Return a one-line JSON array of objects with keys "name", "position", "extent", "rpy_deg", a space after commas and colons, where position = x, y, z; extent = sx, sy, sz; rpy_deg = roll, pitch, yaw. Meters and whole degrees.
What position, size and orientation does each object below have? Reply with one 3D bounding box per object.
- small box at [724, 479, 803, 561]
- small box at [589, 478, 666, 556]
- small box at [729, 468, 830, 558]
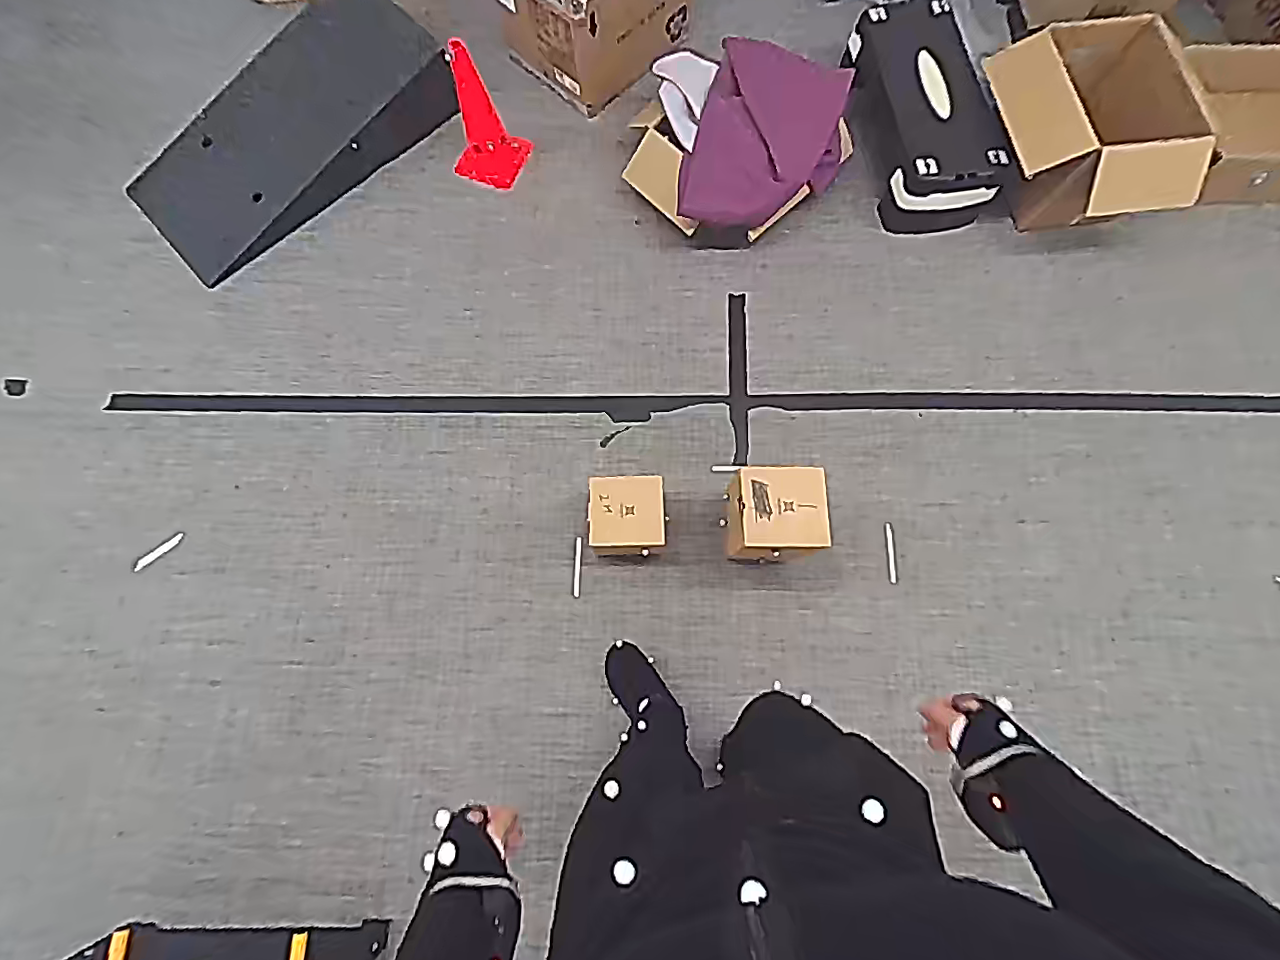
[{"name": "small box", "position": [0.299, 0.104, 1.322], "extent": [0.168, 0.176, 0.179], "rpy_deg": [2, 76, 1]}, {"name": "small box", "position": [-0.029, 0.095, 1.324], "extent": [0.179, 0.176, 0.168], "rpy_deg": [-1, 75, 1]}, {"name": "small box", "position": [0.288, 0.077, 1.157], "extent": [0.179, 0.176, 0.168], "rpy_deg": [1, 75, 0]}]
